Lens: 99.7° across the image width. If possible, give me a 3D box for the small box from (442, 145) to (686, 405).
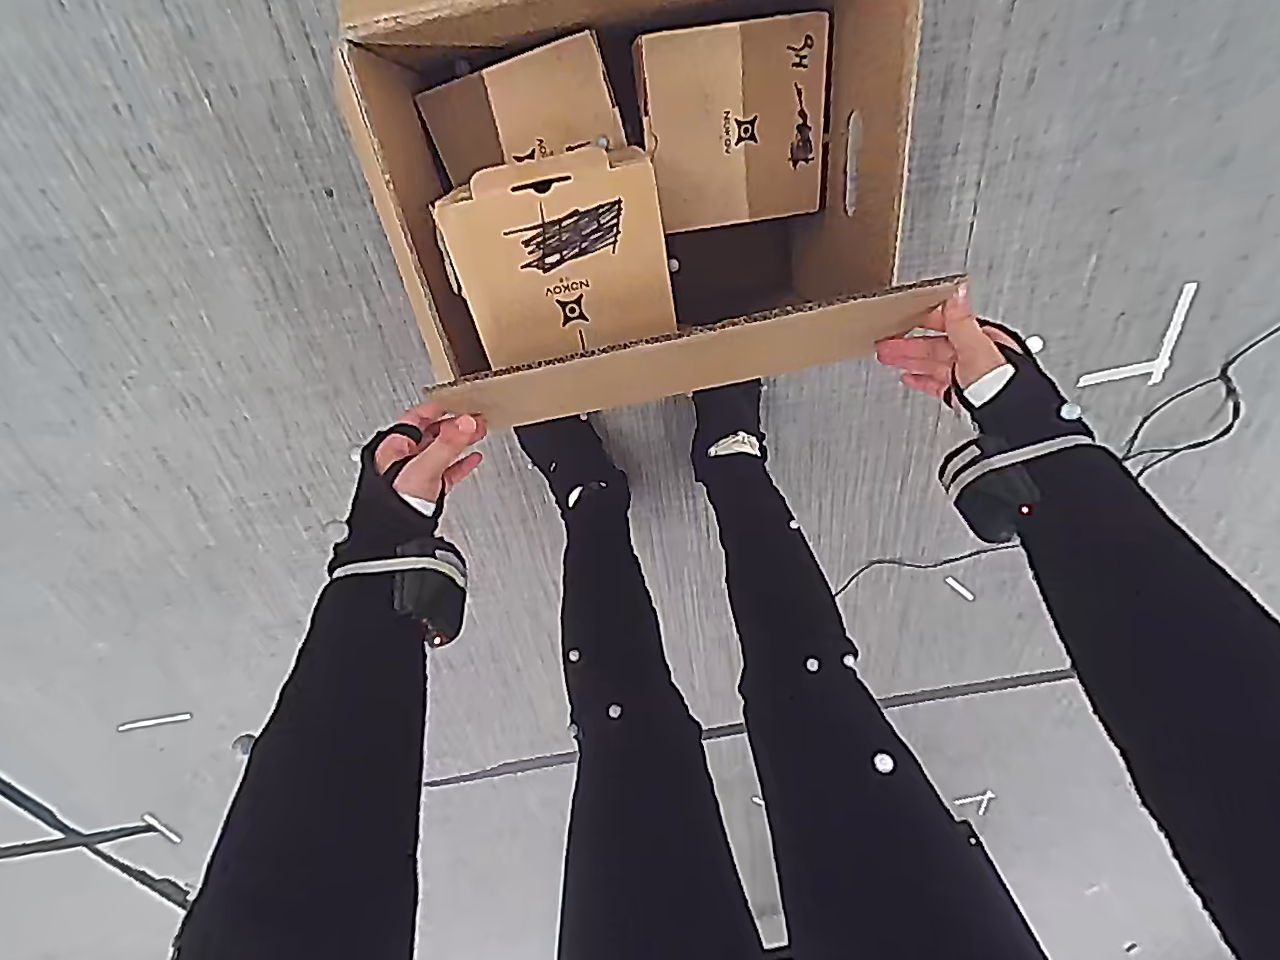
[{"bbox_3d":[-0.059,-0.196,0.498,0.168,0.176,0.179,-10,126,2],"label":"small box"}]
